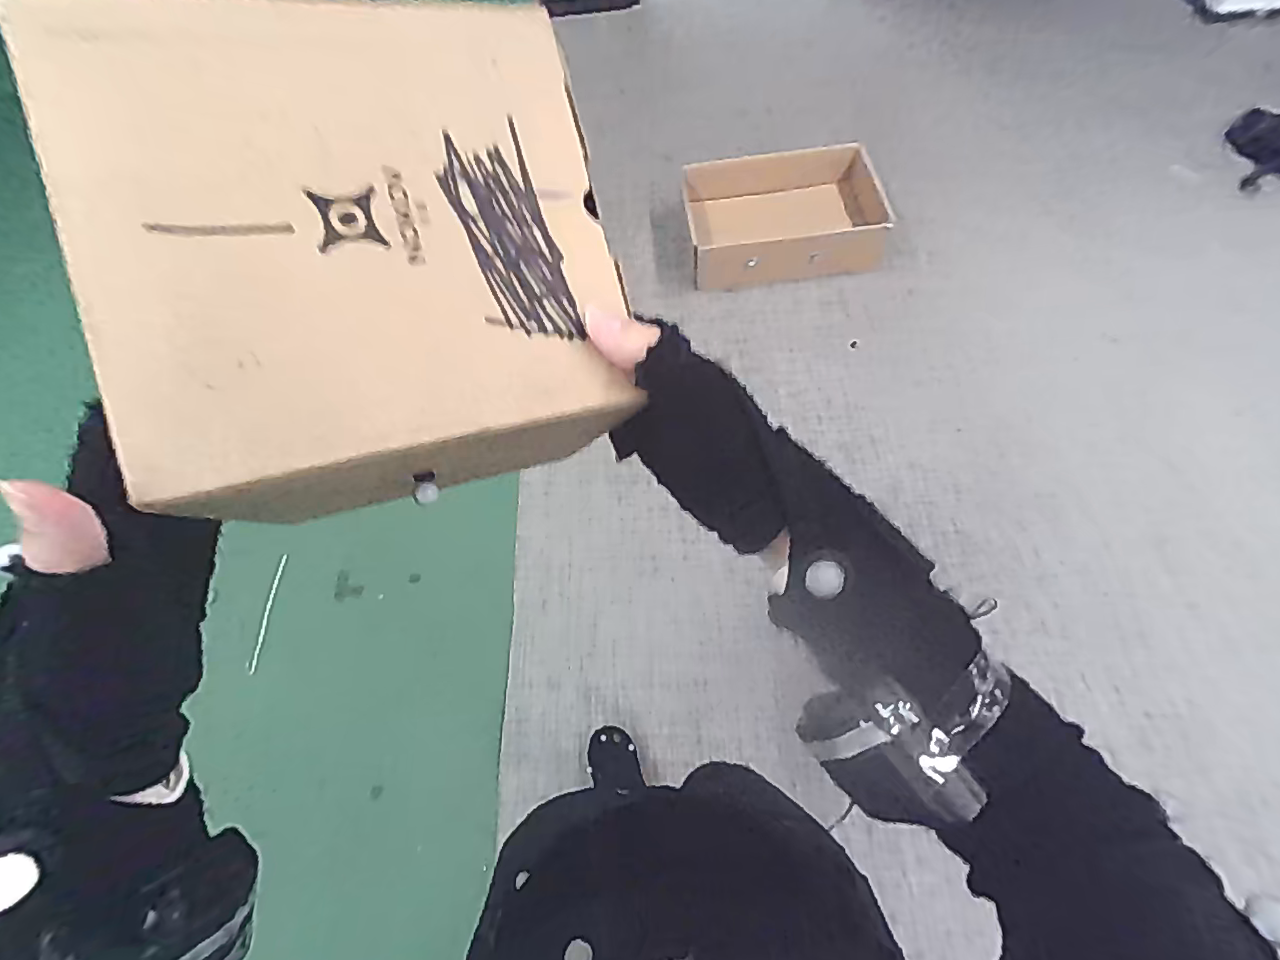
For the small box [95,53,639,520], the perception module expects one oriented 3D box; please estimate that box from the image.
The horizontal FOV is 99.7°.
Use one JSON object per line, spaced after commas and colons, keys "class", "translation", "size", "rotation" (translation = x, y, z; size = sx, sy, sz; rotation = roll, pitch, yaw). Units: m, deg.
{"class": "small box", "translation": [-0.124, -0.079, 0.293], "size": [0.179, 0.176, 0.168], "rotation": [-13, 87, -20]}
